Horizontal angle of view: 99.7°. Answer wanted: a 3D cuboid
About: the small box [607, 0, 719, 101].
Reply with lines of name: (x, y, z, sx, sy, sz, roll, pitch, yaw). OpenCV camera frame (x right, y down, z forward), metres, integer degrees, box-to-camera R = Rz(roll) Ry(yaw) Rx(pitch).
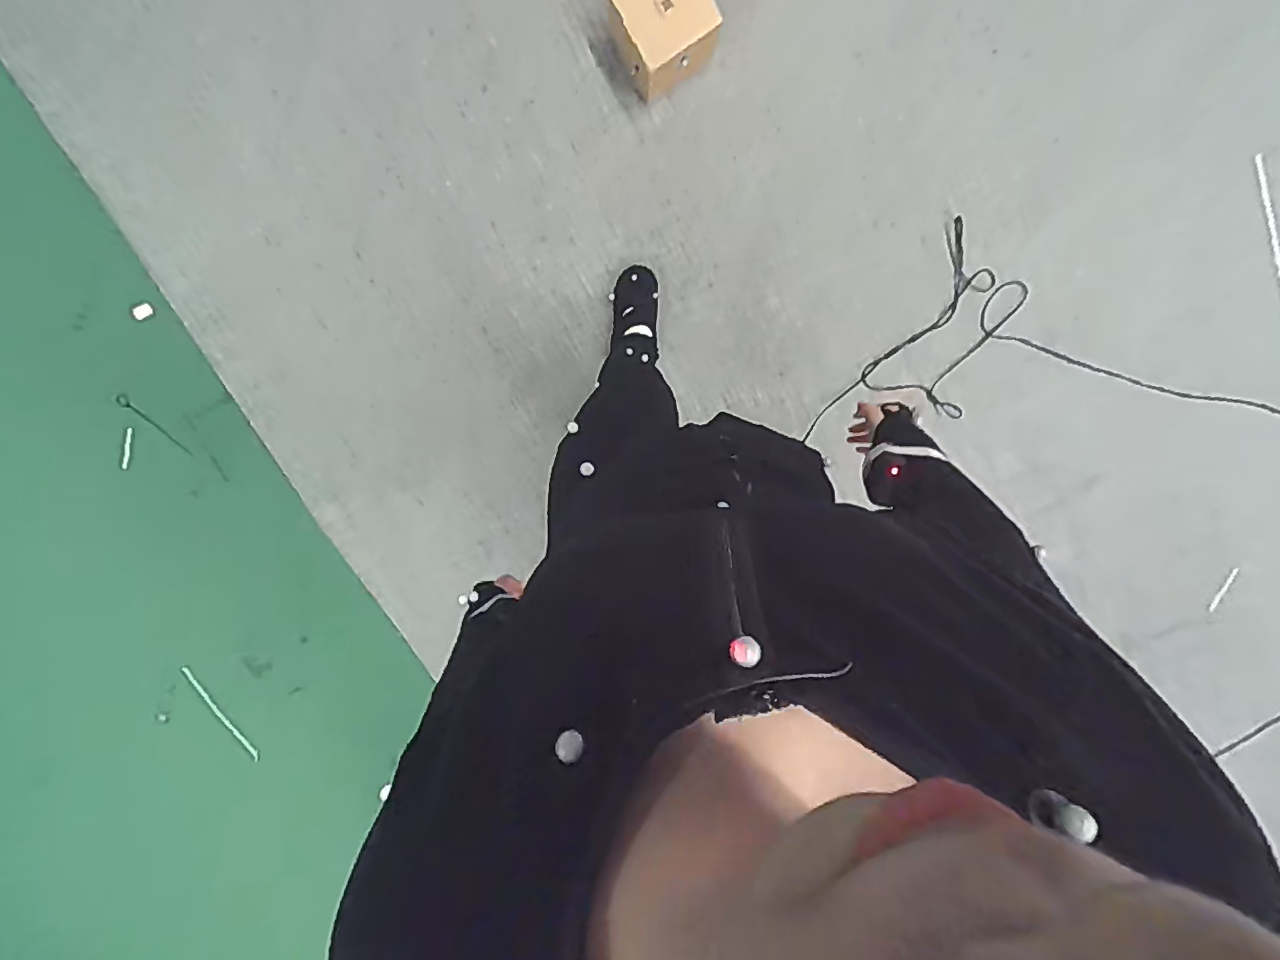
small box: (0.048, -0.960, 1.151, 0.179, 0.176, 0.168, -30, 103, 7)

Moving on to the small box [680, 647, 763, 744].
small box: (0.229, 0.620, 1.576, 0.179, 0.176, 0.168, -28, 103, 7)
